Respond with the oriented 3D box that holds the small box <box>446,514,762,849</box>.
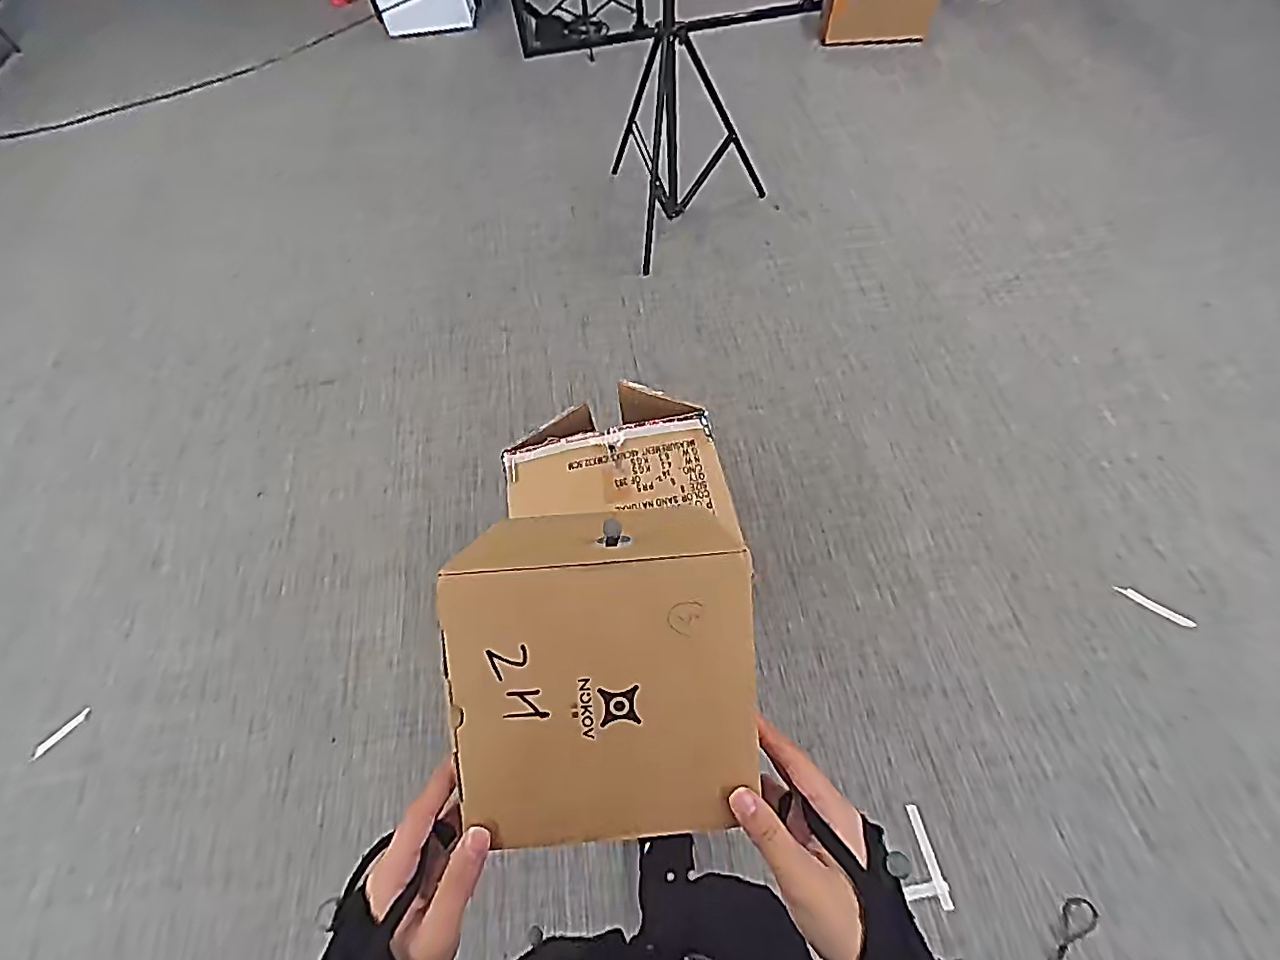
[{"bbox_3d":[-0.021,0.122,0.391,0.179,0.176,0.168,-4,95,-2],"label":"small box"}]
